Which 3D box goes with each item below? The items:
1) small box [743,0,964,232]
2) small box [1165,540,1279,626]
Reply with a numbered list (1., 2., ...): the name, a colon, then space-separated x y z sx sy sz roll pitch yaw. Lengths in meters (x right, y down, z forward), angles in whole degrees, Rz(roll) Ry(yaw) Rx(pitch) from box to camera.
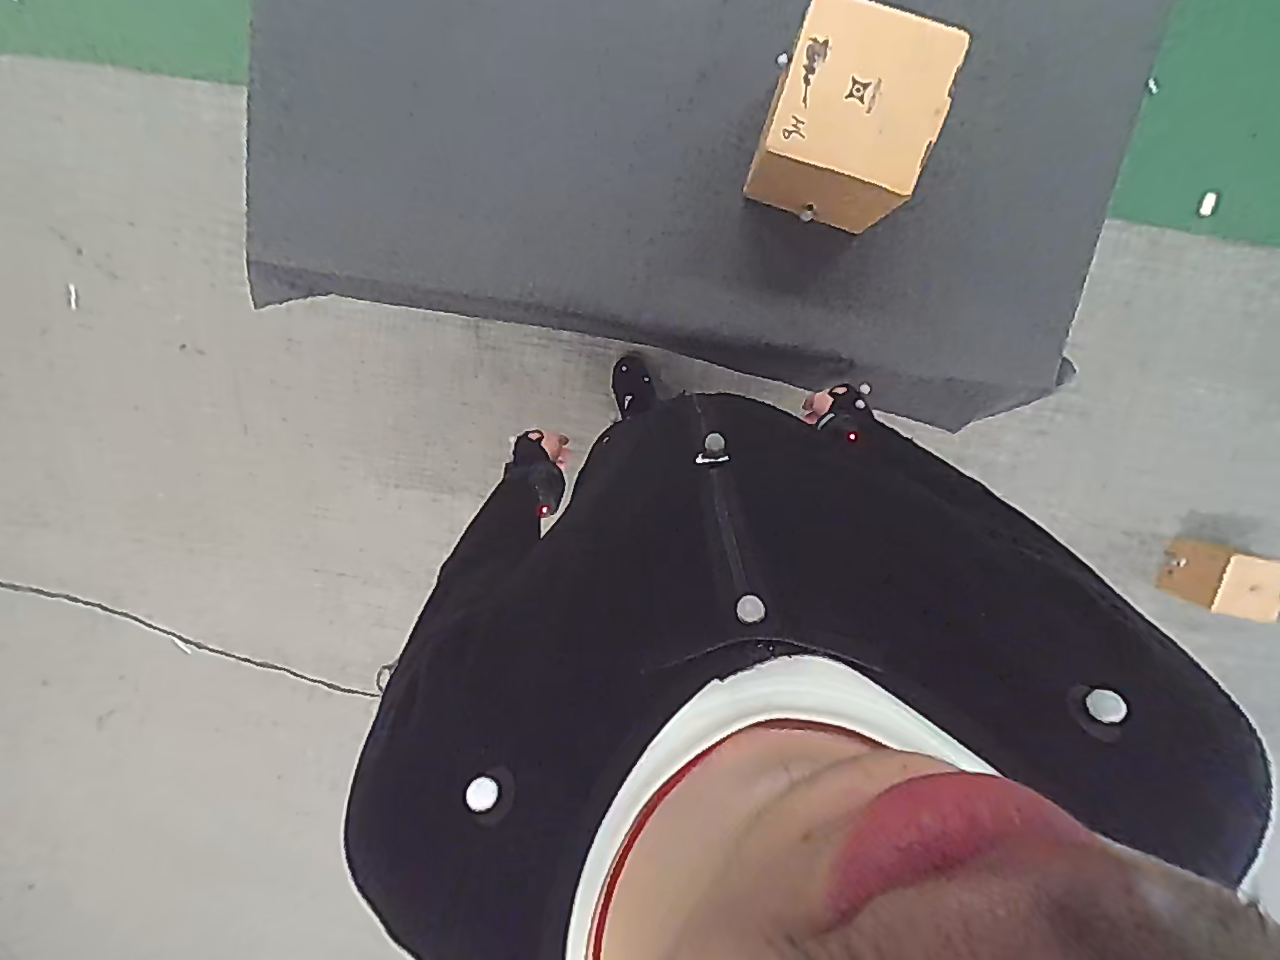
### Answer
1. small box: 0.246 -0.427 0.672 0.179 0.176 0.168 17 101 -2
2. small box: 1.617 0.275 1.475 0.179 0.176 0.168 11 99 0
